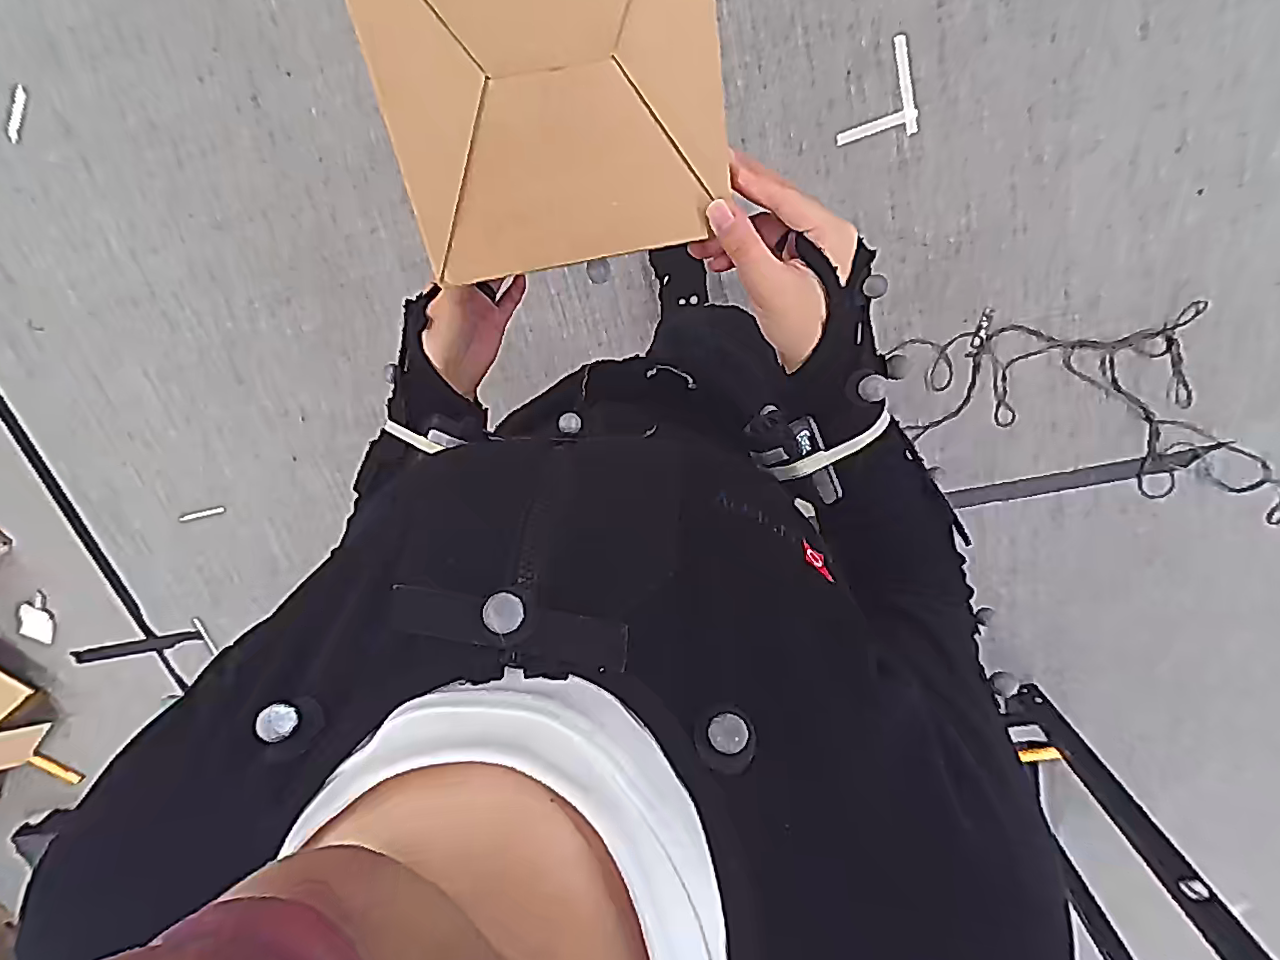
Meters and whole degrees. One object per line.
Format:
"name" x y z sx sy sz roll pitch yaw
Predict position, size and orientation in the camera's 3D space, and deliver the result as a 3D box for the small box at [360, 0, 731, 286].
"small box" -0.049 -0.230 0.332 0.168 0.176 0.179 -11 116 -2
